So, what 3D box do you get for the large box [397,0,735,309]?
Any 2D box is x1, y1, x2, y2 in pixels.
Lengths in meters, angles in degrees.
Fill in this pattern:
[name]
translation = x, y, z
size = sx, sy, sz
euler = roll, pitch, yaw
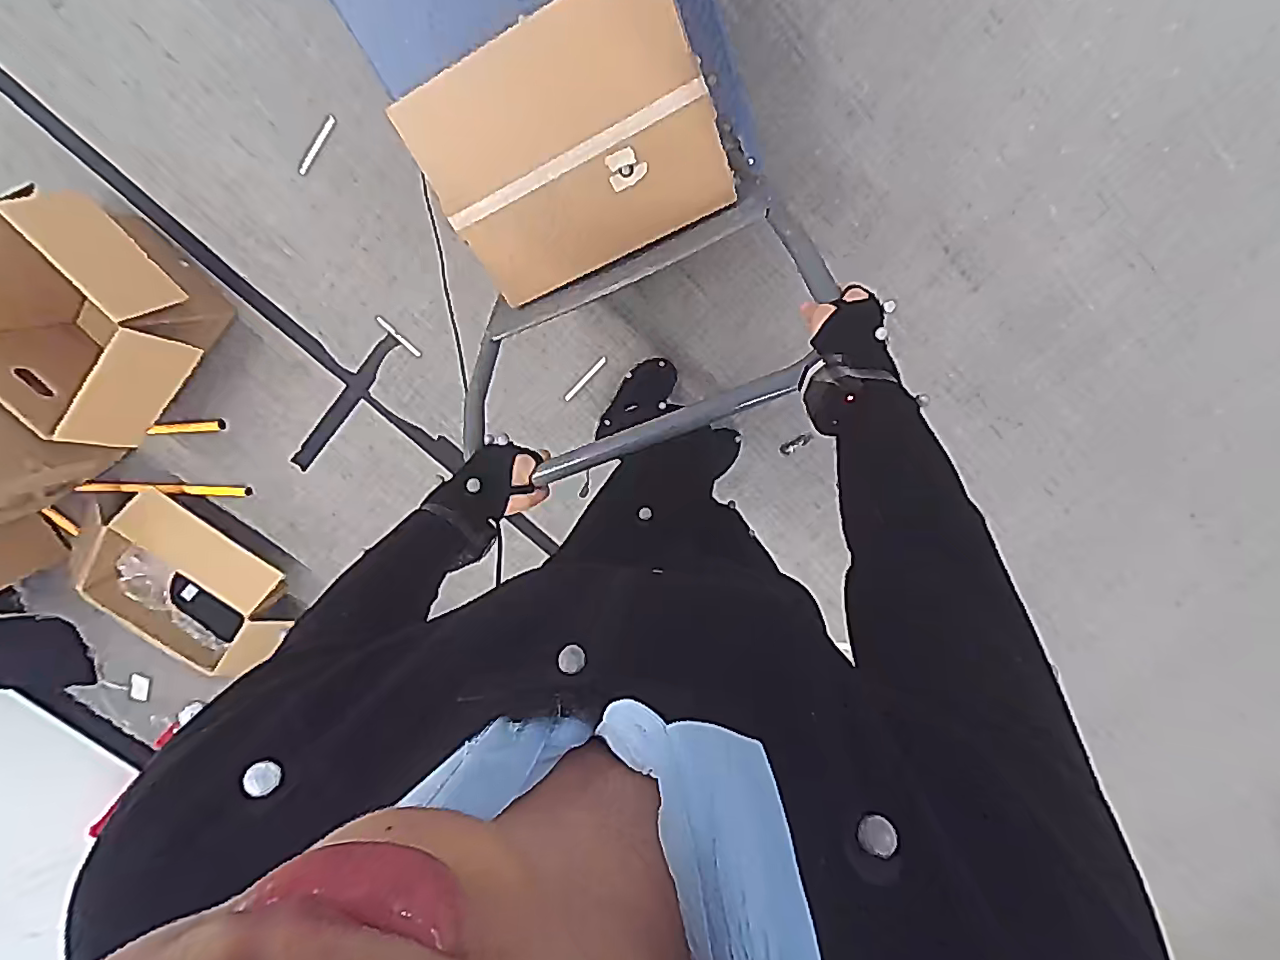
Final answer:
[large box]
translation = -0.102, -0.556, 0.896
size = 0.408, 0.320, 0.320
euler = -21, 128, 14
